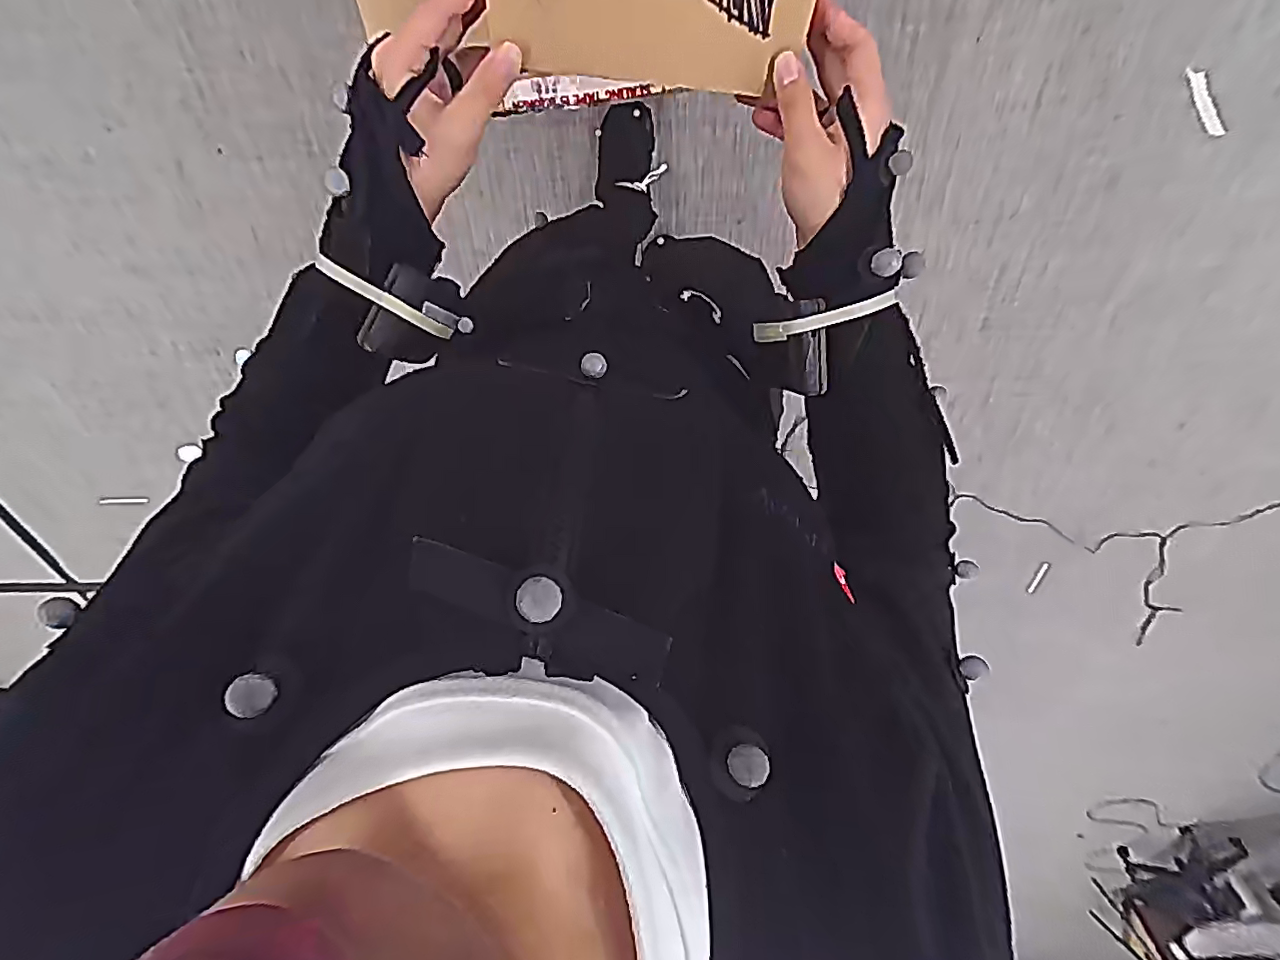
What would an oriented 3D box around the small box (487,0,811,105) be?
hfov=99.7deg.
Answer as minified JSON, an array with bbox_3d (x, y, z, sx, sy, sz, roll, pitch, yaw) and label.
[{"bbox_3d":[0.008,-0.344,0.311,0.179,0.176,0.168,4,138,-4],"label":"small box"}]
